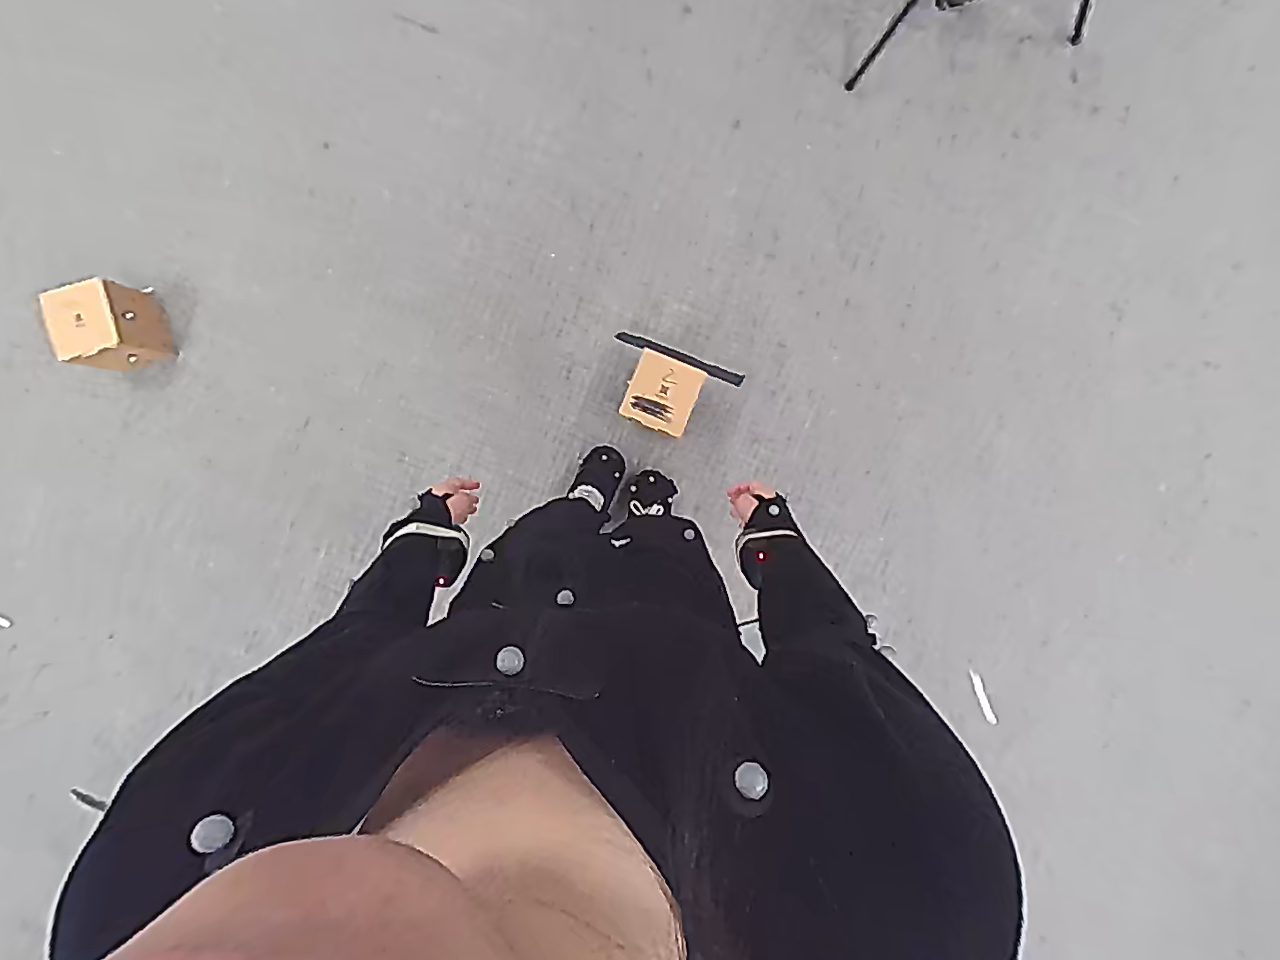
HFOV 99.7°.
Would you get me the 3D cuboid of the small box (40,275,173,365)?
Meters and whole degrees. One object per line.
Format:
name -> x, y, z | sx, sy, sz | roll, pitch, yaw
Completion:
small box -> -1.385, -0.408, 1.419 | 0.168, 0.176, 0.179 | -15, 92, 1
